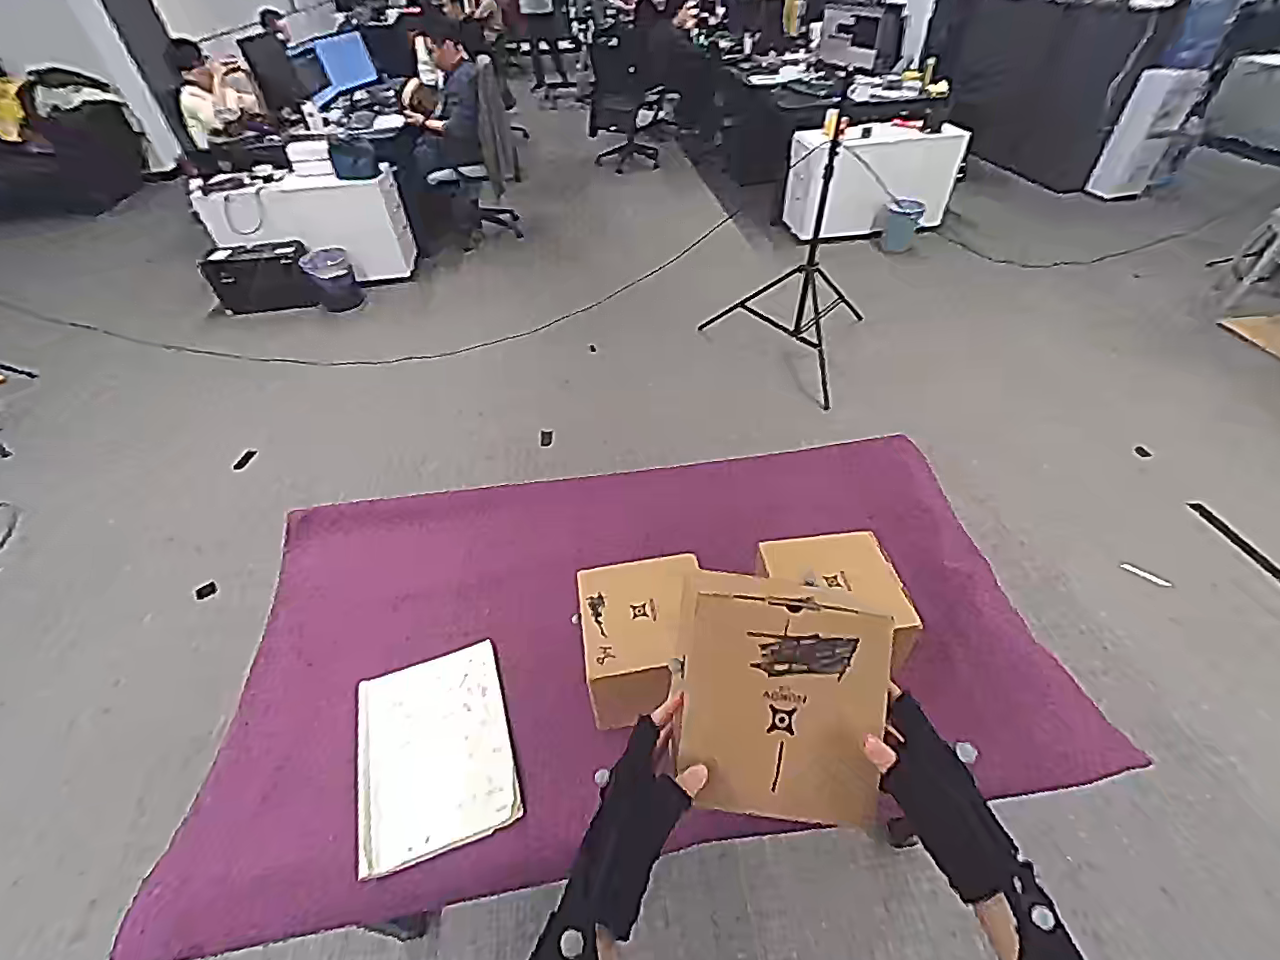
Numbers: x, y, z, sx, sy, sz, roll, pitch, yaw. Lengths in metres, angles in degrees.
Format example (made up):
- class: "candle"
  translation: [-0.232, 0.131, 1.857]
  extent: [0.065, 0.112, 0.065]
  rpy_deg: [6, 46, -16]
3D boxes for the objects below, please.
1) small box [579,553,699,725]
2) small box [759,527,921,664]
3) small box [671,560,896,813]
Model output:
- class: "small box"
  translation: [0.011, 0.228, 0.776]
  extent: [0.179, 0.176, 0.168]
  rpy_deg: [-7, 44, -6]
- class: "small box"
  translation: [0.273, 0.192, 0.800]
  extent: [0.179, 0.176, 0.168]
  rpy_deg: [-6, 43, -1]
- class: "small box"
  translation: [0.121, 0.177, 0.520]
  extent: [0.168, 0.176, 0.179]
  rpy_deg: [6, 88, 2]
